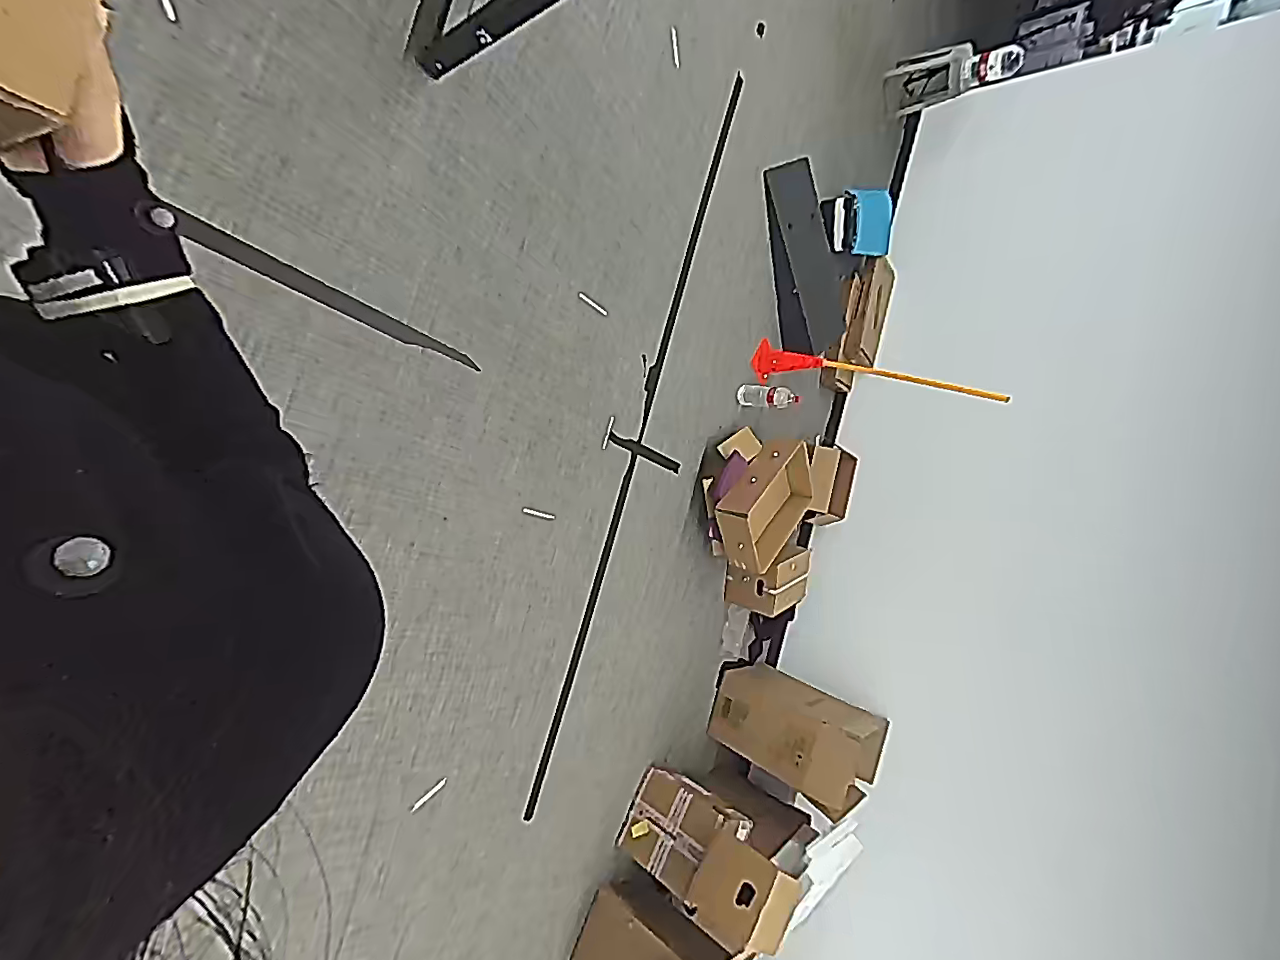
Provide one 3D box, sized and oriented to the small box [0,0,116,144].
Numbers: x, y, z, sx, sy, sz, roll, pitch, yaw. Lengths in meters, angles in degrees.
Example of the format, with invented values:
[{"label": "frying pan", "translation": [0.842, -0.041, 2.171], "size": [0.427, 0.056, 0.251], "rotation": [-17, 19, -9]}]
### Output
[{"label": "small box", "translation": [-0.324, -0.260, 0.205], "size": [0.168, 0.176, 0.179], "rotation": [15, 91, -60]}]
